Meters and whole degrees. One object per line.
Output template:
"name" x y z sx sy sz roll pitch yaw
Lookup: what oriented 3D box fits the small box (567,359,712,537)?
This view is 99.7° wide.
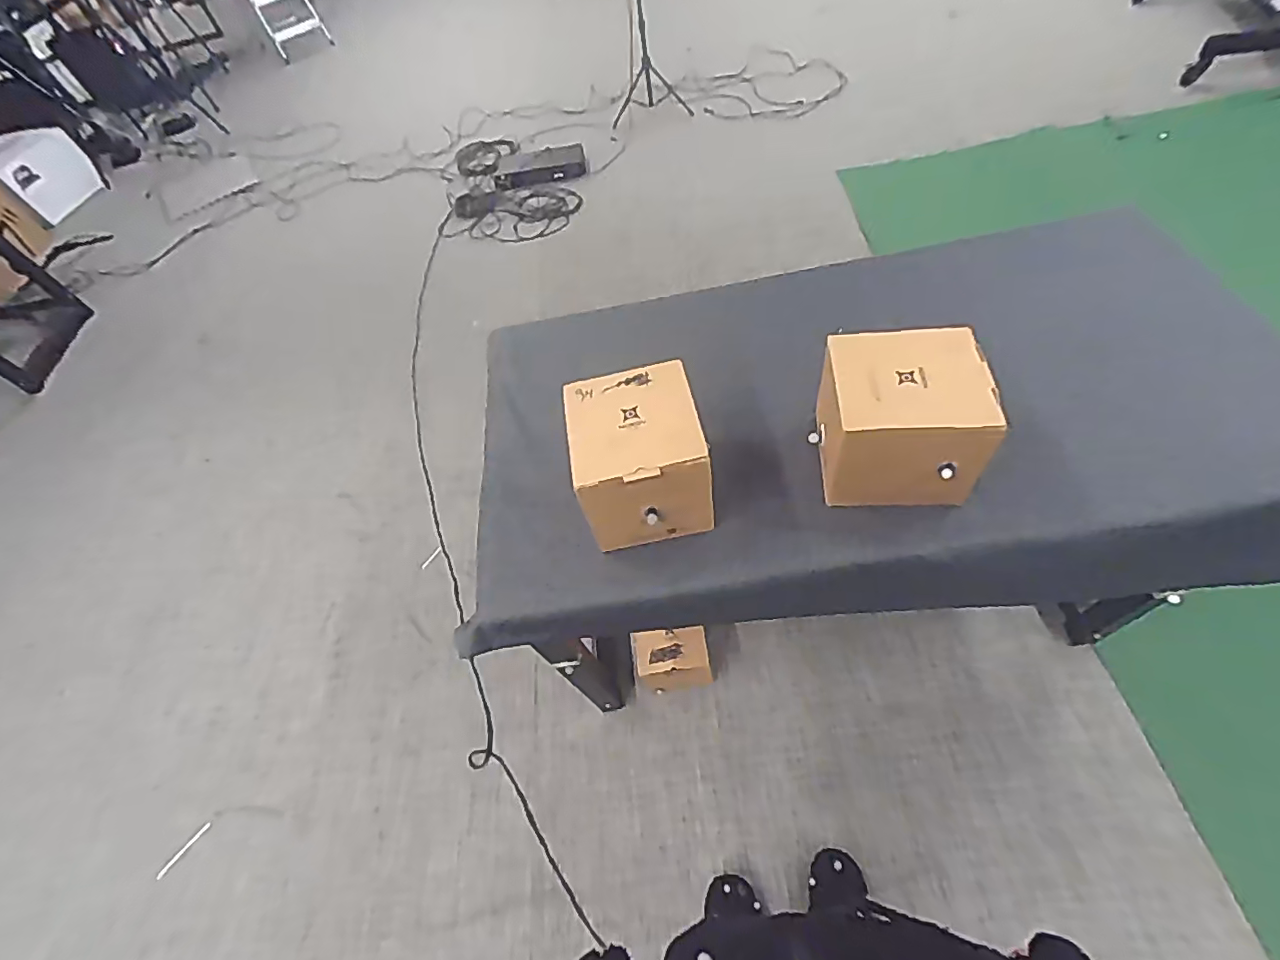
"small box" 0.003 -0.035 0.751 0.168 0.176 0.179 -11 56 2

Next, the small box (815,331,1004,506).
"small box" 0.340 -0.076 0.723 0.179 0.176 0.168 -1 56 11
